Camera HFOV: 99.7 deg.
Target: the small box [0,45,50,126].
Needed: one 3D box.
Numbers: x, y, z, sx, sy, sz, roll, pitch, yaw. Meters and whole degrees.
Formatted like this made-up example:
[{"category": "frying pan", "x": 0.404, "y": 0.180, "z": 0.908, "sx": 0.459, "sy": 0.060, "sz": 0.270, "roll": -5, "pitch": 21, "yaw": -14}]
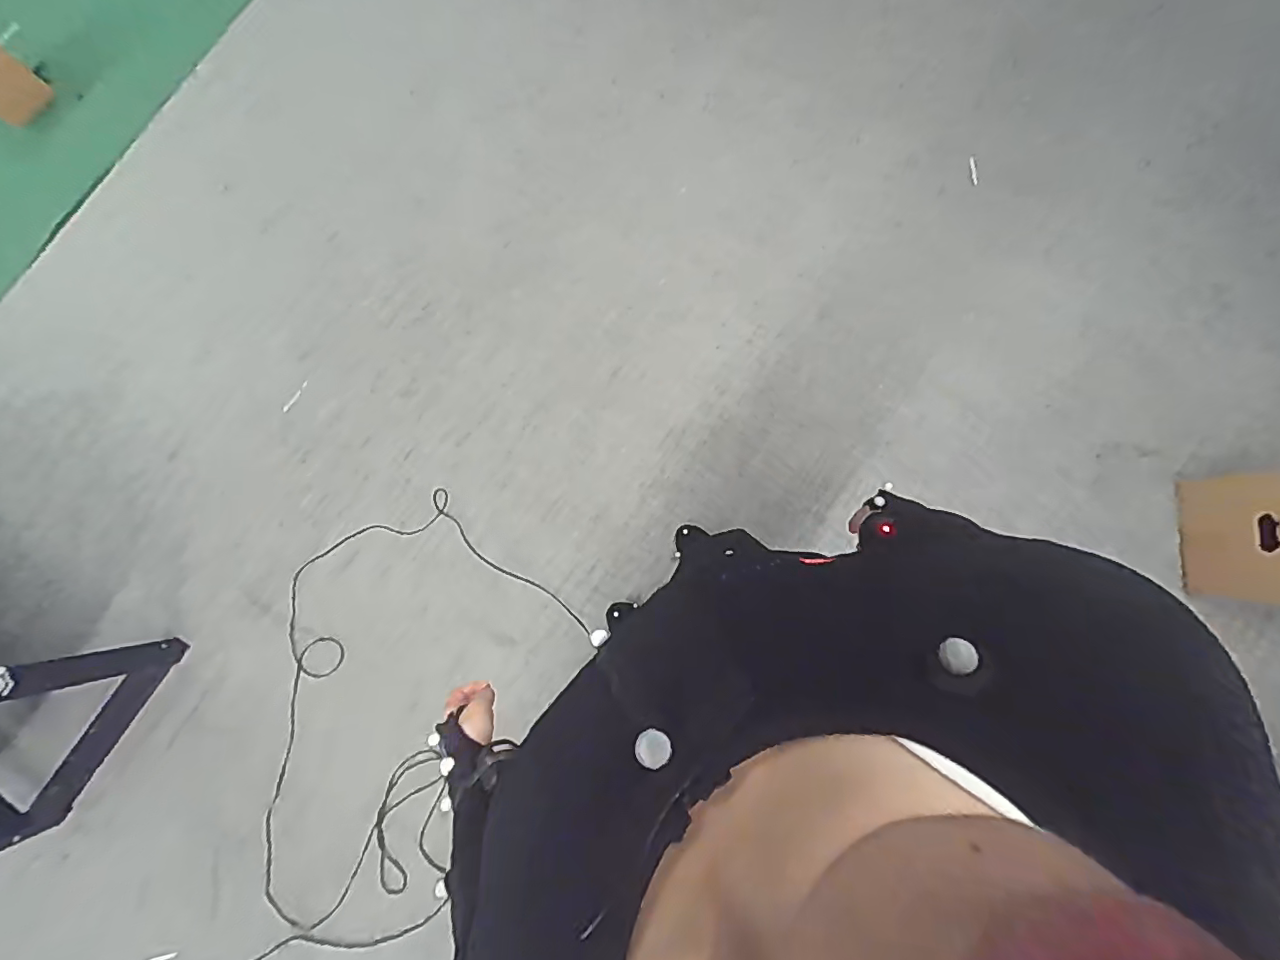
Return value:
[{"category": "small box", "x": -2.050, "y": -1.284, "z": 1.710, "sx": 0.168, "sy": 0.176, "sz": 0.179, "roll": 38, "pitch": 86, "yaw": 6}]
